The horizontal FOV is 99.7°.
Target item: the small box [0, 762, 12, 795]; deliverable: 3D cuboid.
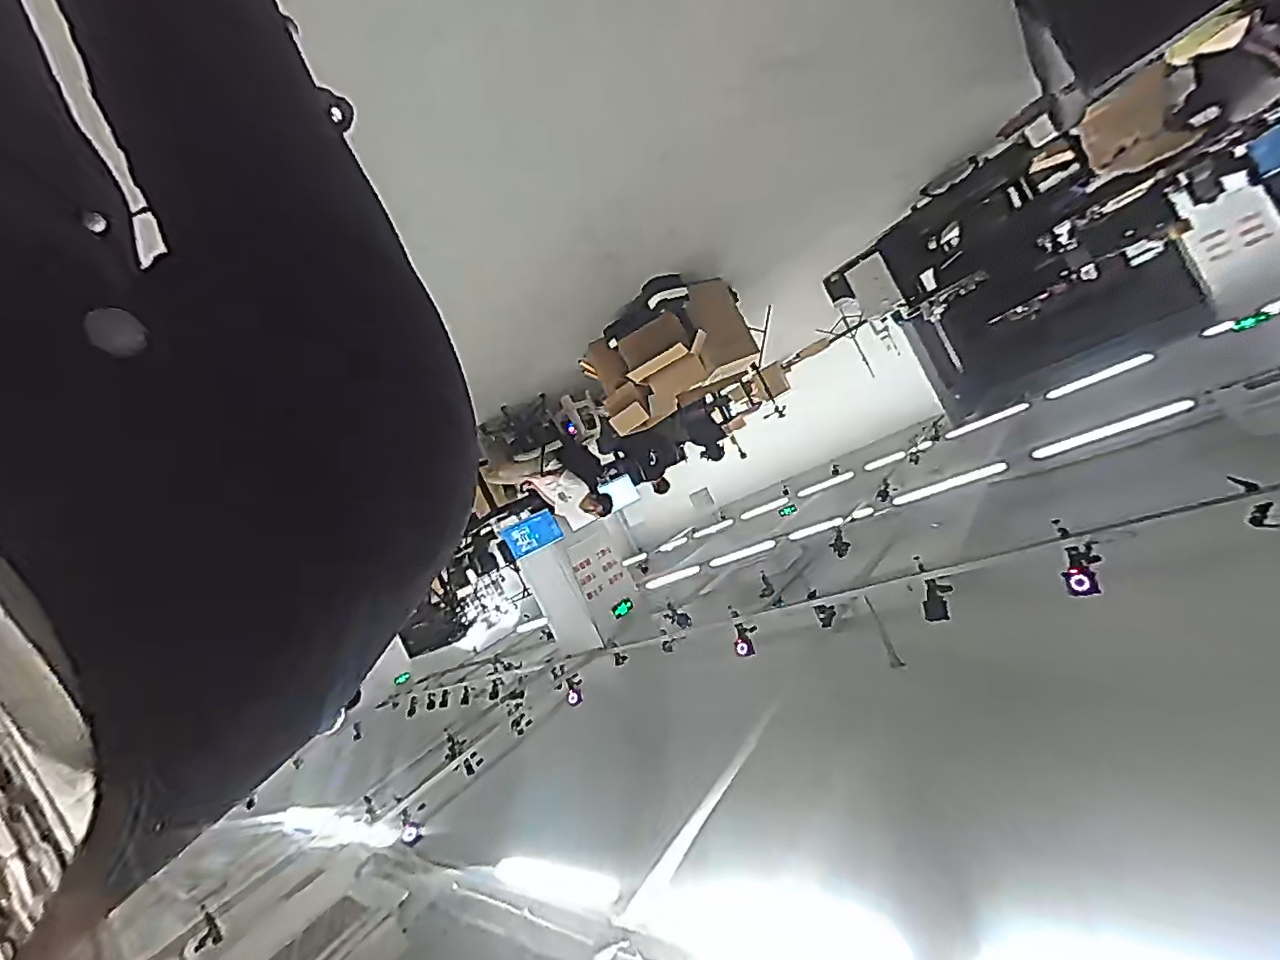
[{"bbox_3d":[-2.031,0.898,1.596,0.179,0.176,0.168,-24,176,-43],"label":"small box"}]
